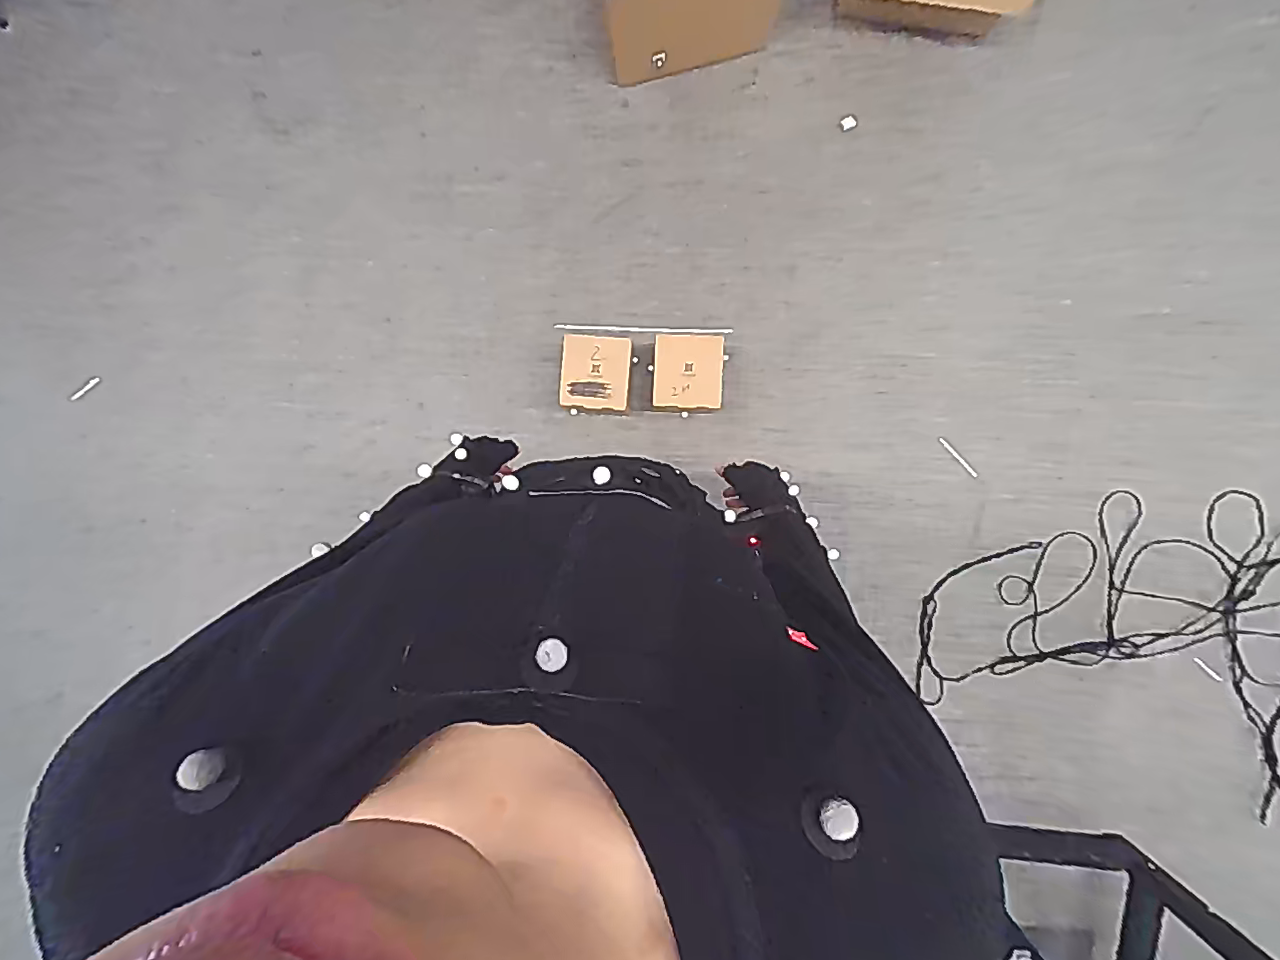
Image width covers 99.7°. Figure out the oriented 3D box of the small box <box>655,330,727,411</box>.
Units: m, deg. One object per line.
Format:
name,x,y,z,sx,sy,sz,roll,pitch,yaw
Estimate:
small box,0.124,-0.271,1.368,0.168,0.176,0.179,2,93,3
